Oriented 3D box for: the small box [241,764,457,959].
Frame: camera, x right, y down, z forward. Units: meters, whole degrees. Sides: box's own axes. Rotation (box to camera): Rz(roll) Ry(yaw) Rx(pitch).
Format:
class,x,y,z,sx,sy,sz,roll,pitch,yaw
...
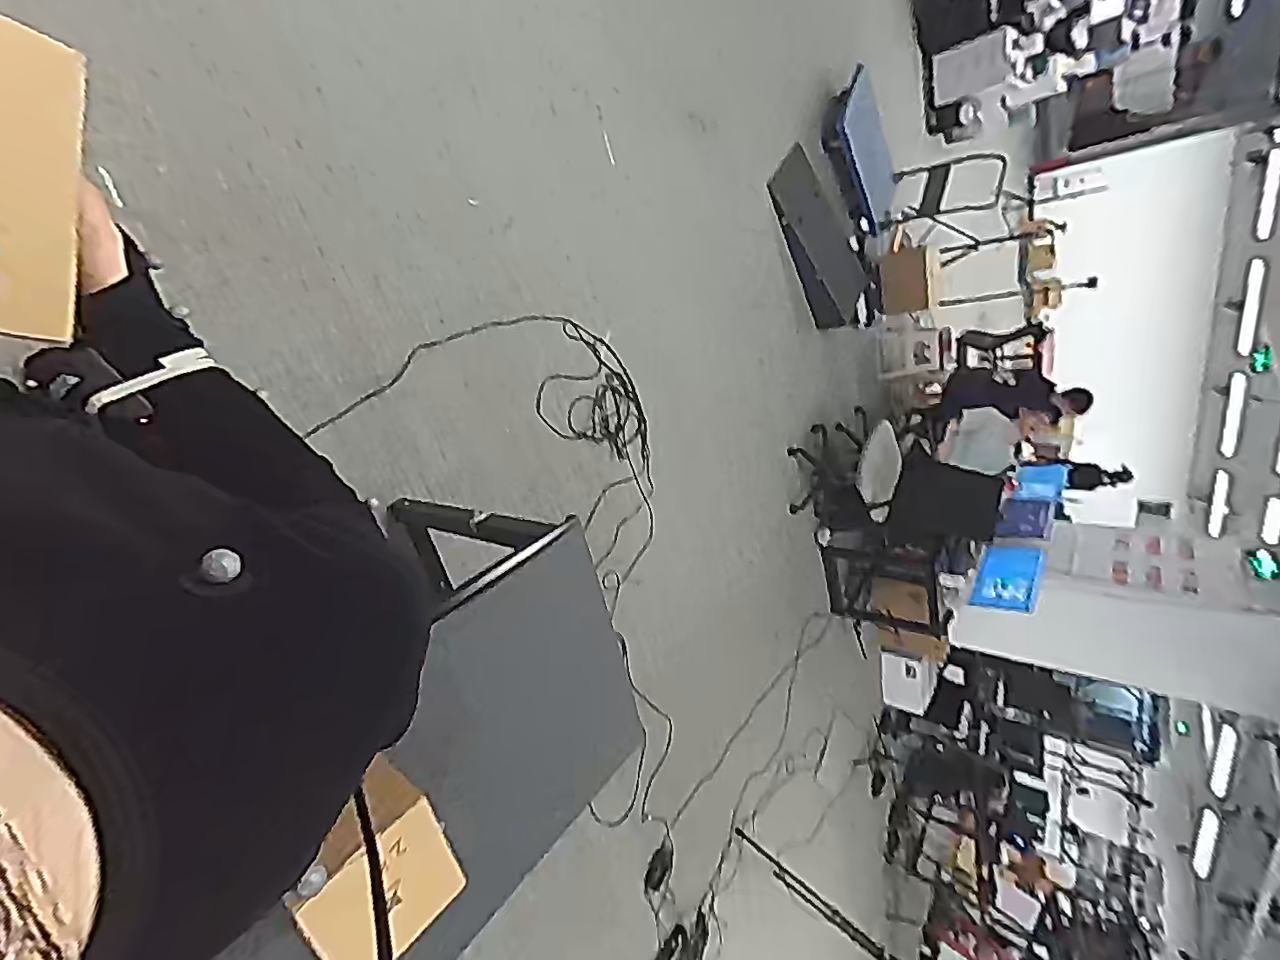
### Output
class,x,y,z,sx,sy,sz,roll,pitch,yaw
small box,-0.376,0.516,0.706,0.168,0.176,0.179,-32,118,-44
